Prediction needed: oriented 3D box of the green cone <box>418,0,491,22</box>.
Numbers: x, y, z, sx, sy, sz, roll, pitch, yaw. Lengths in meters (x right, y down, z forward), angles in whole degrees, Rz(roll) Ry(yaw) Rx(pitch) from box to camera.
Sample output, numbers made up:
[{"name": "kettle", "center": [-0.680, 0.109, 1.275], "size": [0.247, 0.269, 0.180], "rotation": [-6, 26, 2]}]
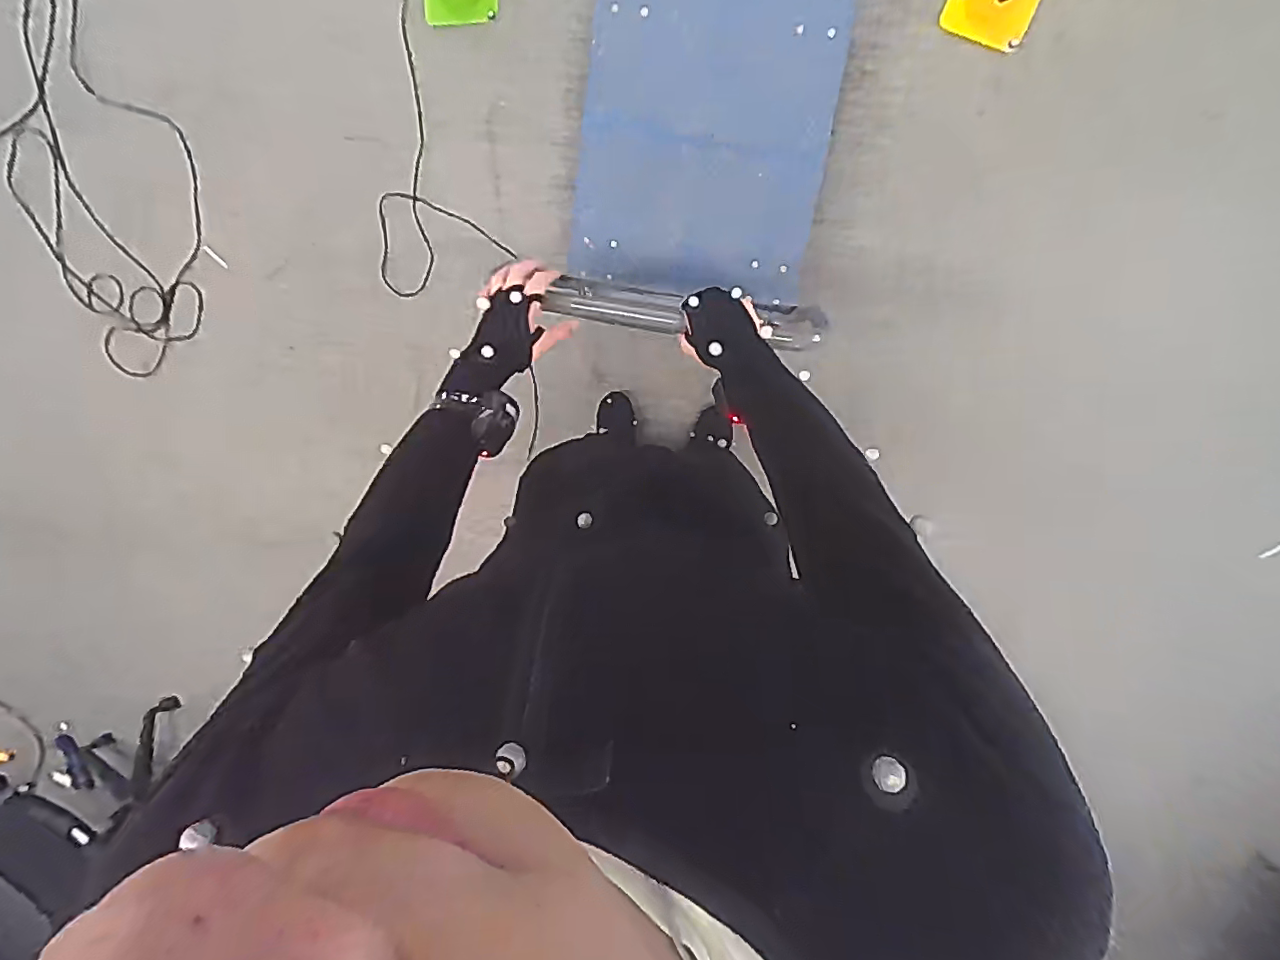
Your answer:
[{"name": "green cone", "center": [-0.504, -1.263, 1.220], "size": [0.202, 0.368, 0.200], "rotation": [1, 103, 8]}]
